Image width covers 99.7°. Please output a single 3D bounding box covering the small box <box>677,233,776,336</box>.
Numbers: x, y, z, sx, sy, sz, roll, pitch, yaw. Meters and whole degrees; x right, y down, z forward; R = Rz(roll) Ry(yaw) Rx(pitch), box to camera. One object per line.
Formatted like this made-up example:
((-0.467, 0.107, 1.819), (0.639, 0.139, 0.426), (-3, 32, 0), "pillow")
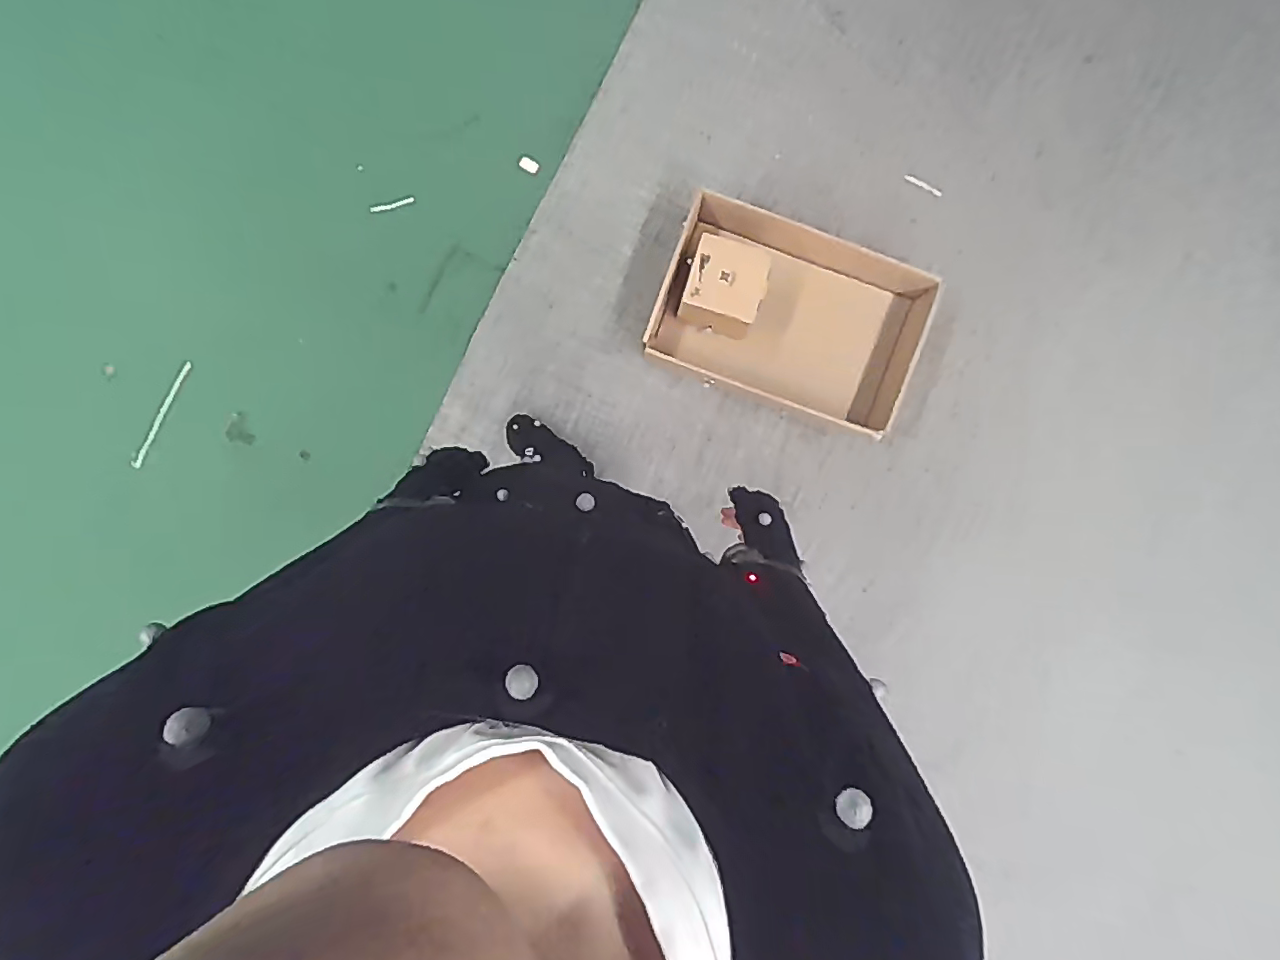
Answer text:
((0.201, -0.463, 1.311), (0.179, 0.176, 0.168), (18, 92, -2), "small box")
